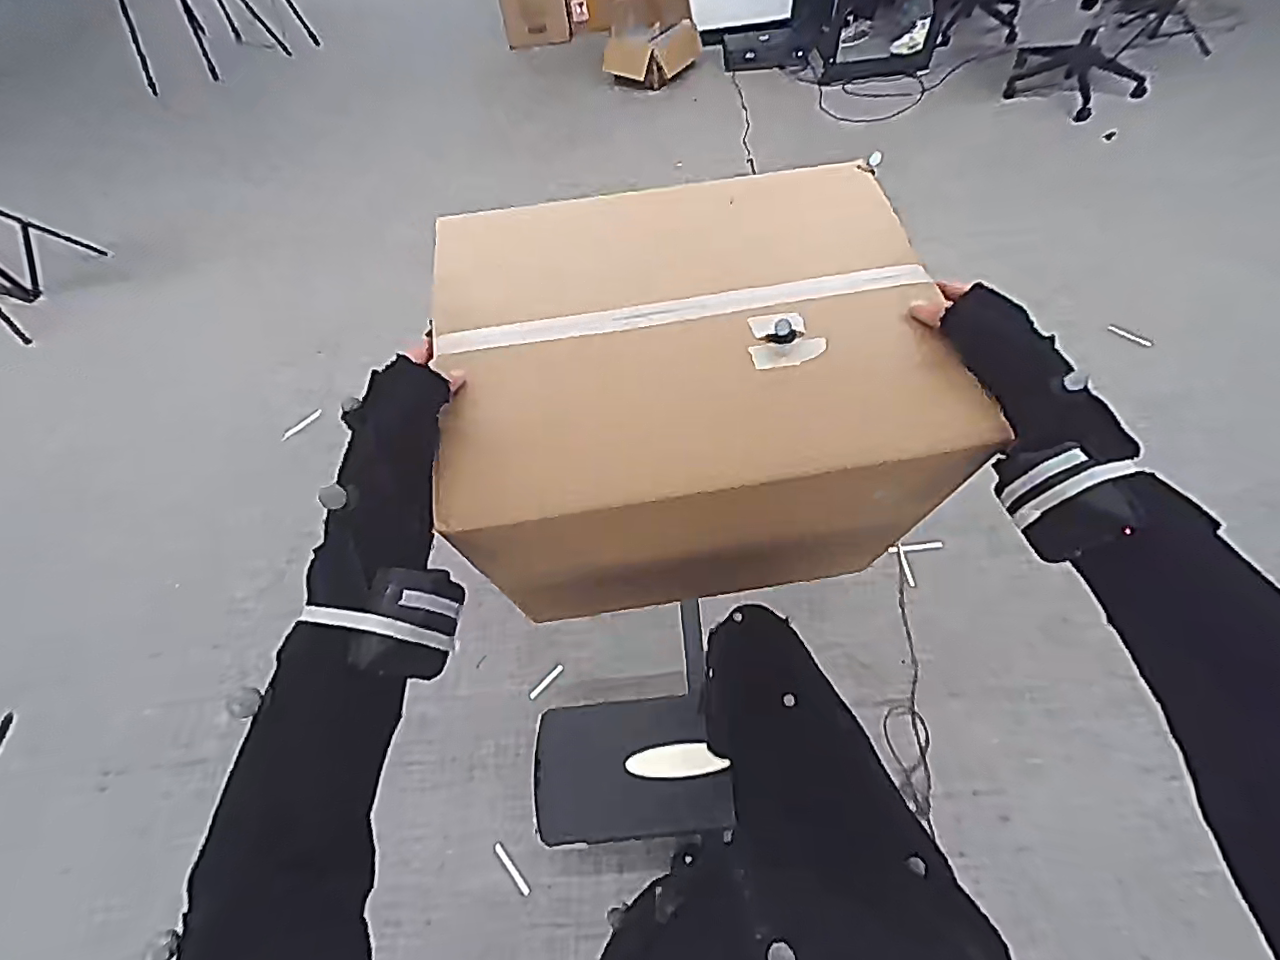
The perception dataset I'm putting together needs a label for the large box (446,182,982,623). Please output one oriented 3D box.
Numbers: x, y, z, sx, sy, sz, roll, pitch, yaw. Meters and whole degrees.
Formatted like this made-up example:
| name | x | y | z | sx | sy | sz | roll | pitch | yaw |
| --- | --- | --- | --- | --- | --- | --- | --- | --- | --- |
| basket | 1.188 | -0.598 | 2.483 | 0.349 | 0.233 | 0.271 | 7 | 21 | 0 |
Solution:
| name | x | y | z | sx | sy | sz | roll | pitch | yaw |
| --- | --- | --- | --- | --- | --- | --- | --- | --- | --- |
| large box | 0.039 | -0.060 | 0.588 | 0.408 | 0.320 | 0.320 | -9 | 64 | -2 |
